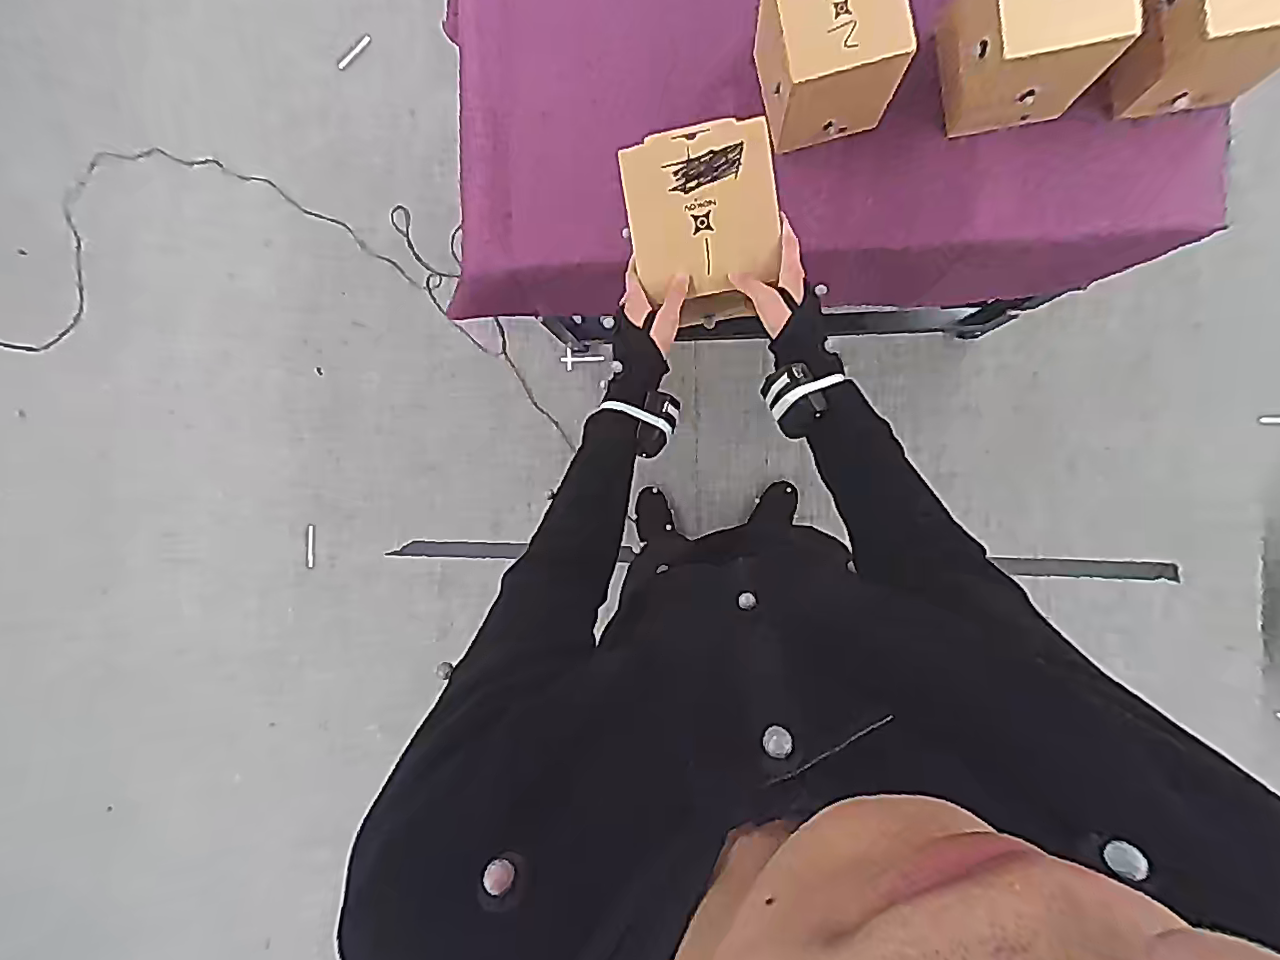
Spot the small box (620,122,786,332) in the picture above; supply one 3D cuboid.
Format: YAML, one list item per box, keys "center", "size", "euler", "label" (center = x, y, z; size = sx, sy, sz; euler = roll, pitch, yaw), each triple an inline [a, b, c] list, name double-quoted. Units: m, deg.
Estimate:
- center: [0.078, -0.298, 0.677]
  size: [0.168, 0.176, 0.179]
  euler: [-9, 95, 8]
  label: "small box"

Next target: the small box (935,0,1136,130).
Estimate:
- center: [0.546, -0.635, 0.770]
  size: [0.168, 0.176, 0.179]
  euler: [-7, 89, 6]
  label: "small box"

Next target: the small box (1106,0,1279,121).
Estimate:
- center: [0.784, -0.642, 0.743]
  size: [0.168, 0.176, 0.179]
  euler: [-5, 89, 8]
  label: "small box"
